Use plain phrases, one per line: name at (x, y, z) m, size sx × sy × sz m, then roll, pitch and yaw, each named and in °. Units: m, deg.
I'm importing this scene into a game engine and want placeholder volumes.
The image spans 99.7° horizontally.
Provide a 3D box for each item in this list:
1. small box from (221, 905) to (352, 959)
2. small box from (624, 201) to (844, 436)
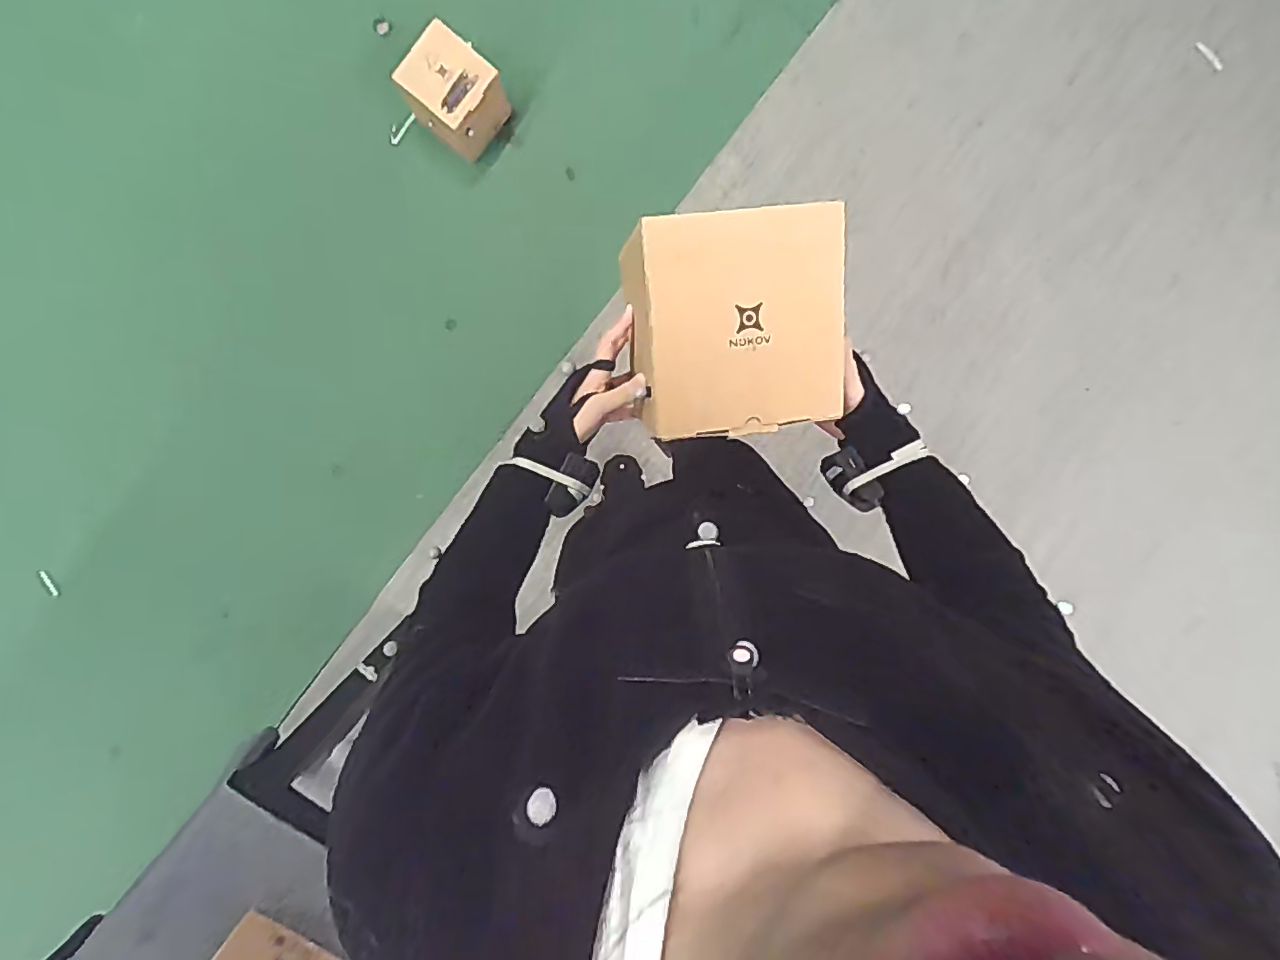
small box at (-0.537, 0.752, 0.739) m, size 0.168 × 0.176 × 0.179 m, roll 37°, pitch 94°, yaw -7°
small box at (0.081, -0.150, 0.525) m, size 0.168 × 0.176 × 0.179 m, roll -8°, pitch 106°, yaw -5°
